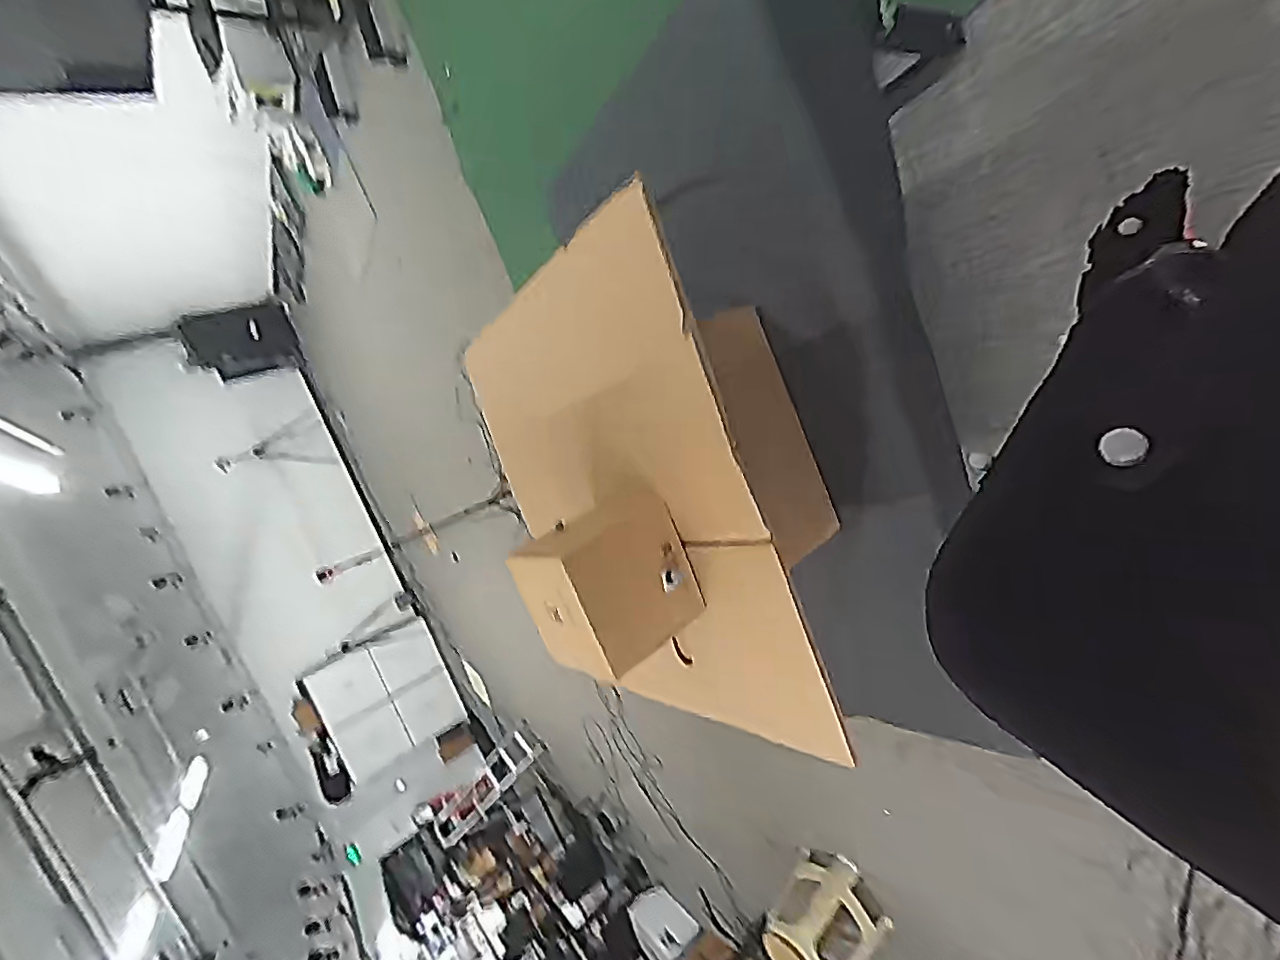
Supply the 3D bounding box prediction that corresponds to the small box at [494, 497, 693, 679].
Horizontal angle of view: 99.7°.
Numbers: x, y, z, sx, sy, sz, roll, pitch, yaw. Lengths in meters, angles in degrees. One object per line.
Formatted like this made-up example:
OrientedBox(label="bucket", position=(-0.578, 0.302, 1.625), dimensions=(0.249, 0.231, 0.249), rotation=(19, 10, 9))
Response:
OrientedBox(label="small box", position=(-0.062, 0.134, 0.721), dimensions=(0.179, 0.176, 0.168), rotation=(-13, 102, 53))
